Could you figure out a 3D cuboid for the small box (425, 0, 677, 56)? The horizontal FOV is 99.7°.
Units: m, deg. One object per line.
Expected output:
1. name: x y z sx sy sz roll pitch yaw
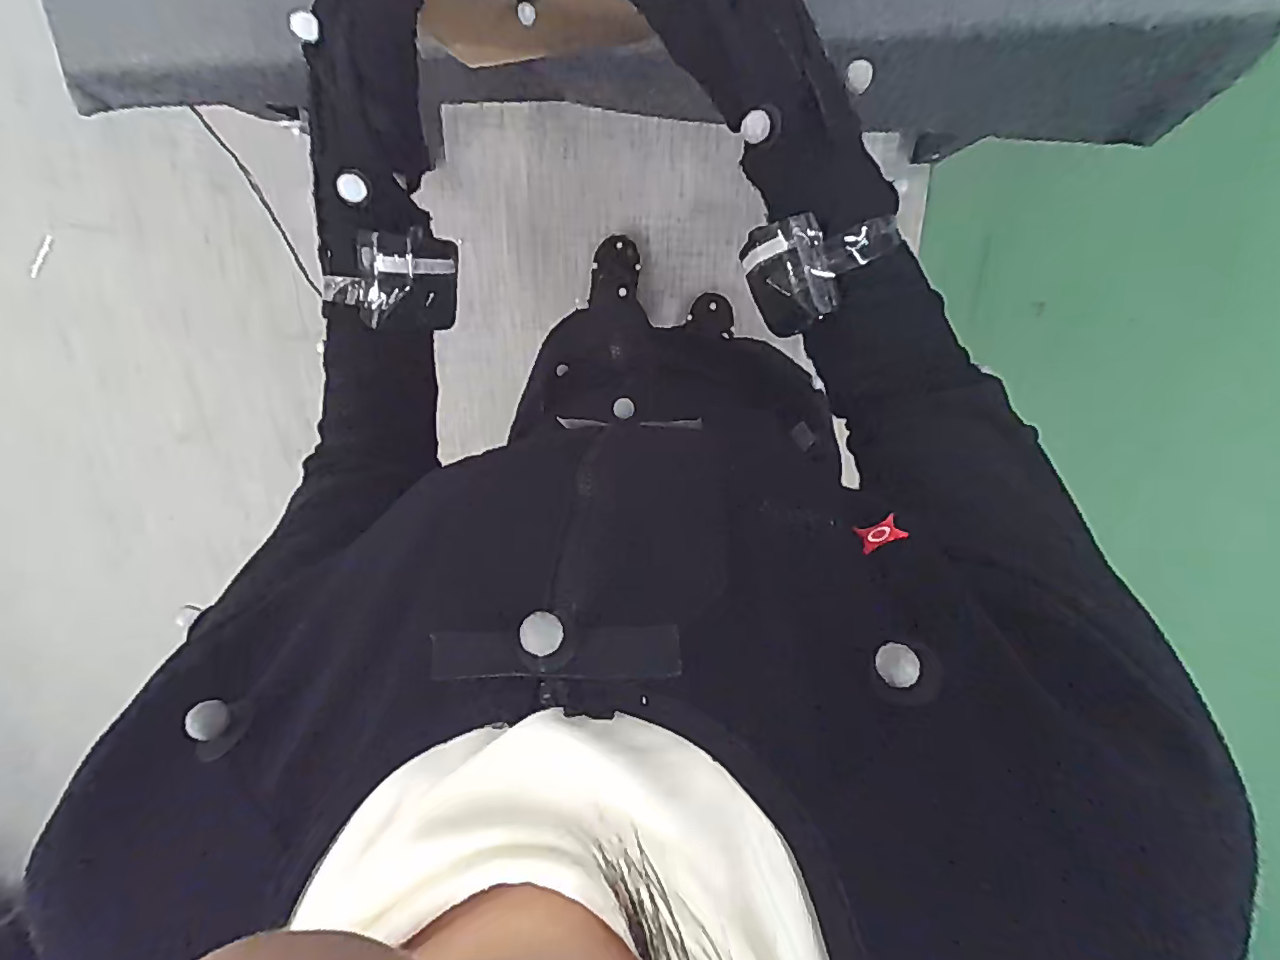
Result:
1. small box: -0.070 -0.401 0.343 0.179 0.176 0.168 -4 115 7
